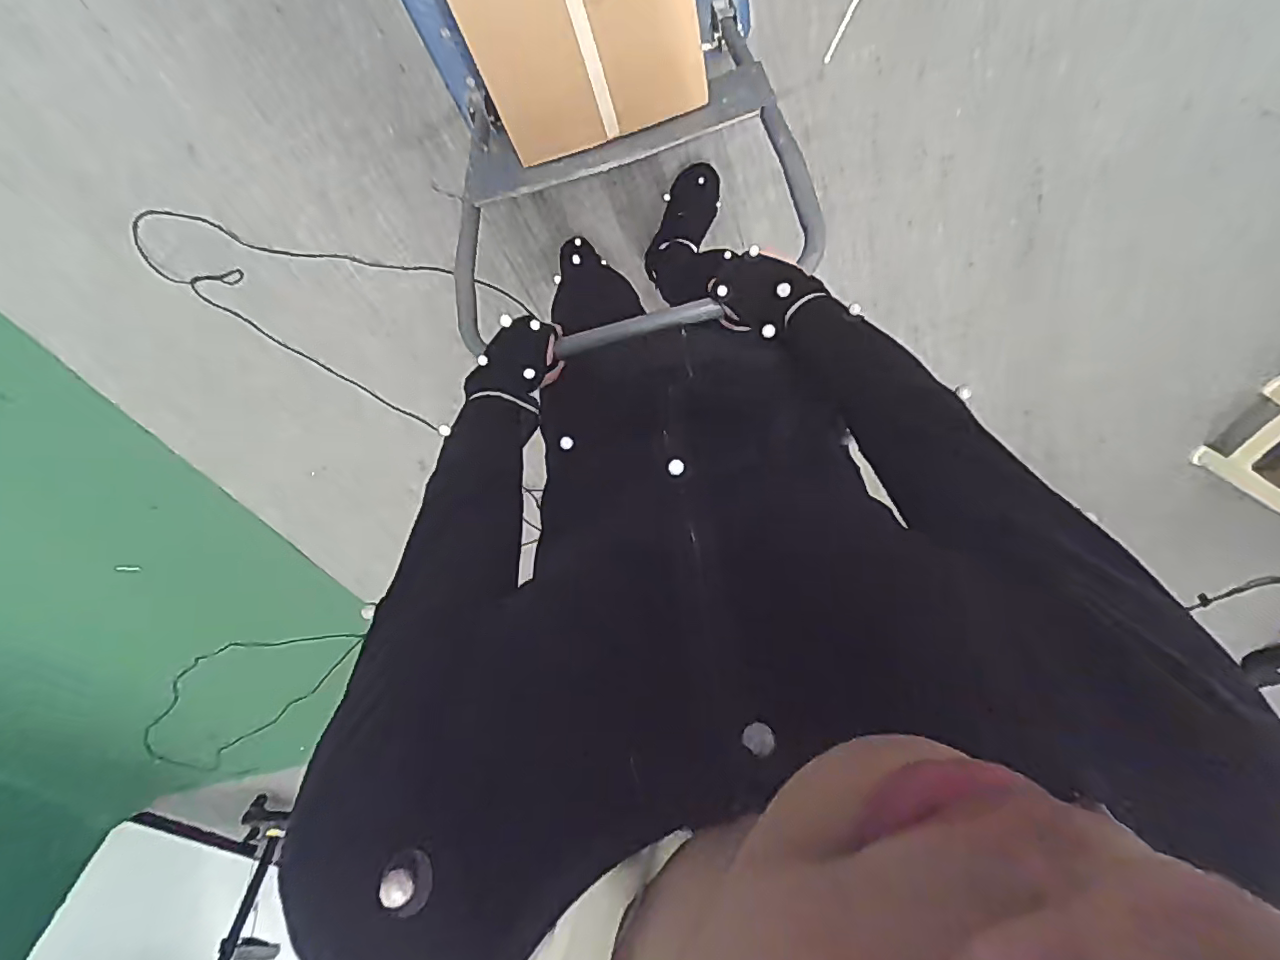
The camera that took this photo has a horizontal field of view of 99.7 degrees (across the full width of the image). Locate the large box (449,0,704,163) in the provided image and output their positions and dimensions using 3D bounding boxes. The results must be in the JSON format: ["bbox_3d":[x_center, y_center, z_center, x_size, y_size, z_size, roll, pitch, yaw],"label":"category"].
[{"bbox_3d":[-0.110,-0.780,0.788,0.320,0.320,0.408,-13,148,10],"label":"large box"}]
